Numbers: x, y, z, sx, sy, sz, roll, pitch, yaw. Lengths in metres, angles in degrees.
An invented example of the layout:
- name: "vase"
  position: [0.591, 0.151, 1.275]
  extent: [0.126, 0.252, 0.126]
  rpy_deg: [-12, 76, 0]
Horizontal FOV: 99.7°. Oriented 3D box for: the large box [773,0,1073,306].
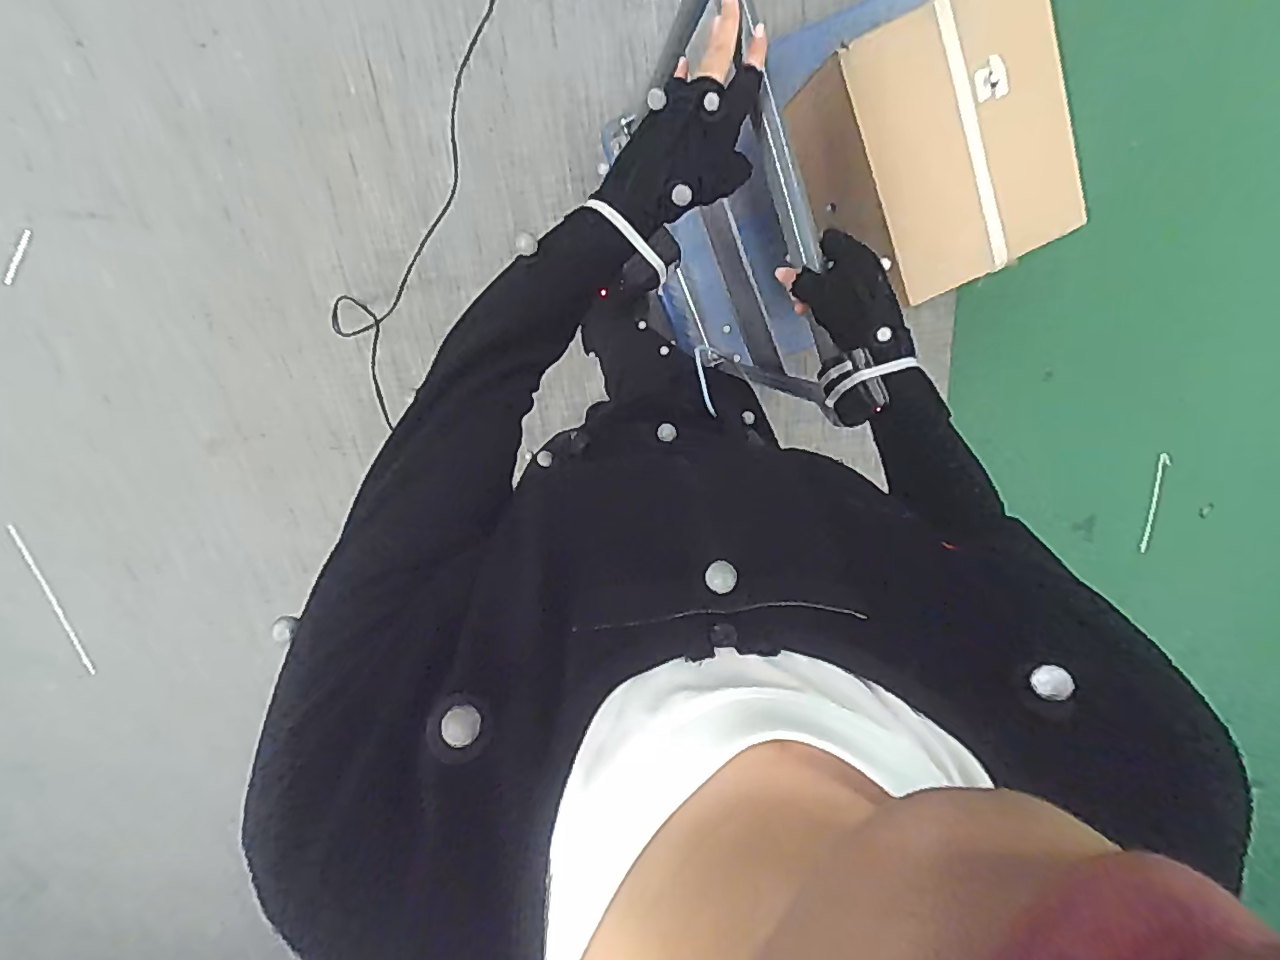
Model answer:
- name: "large box"
  position: [0.493, -0.576, 0.997]
  extent: [0.320, 0.320, 0.408]
  rpy_deg: [-26, 107, 3]
